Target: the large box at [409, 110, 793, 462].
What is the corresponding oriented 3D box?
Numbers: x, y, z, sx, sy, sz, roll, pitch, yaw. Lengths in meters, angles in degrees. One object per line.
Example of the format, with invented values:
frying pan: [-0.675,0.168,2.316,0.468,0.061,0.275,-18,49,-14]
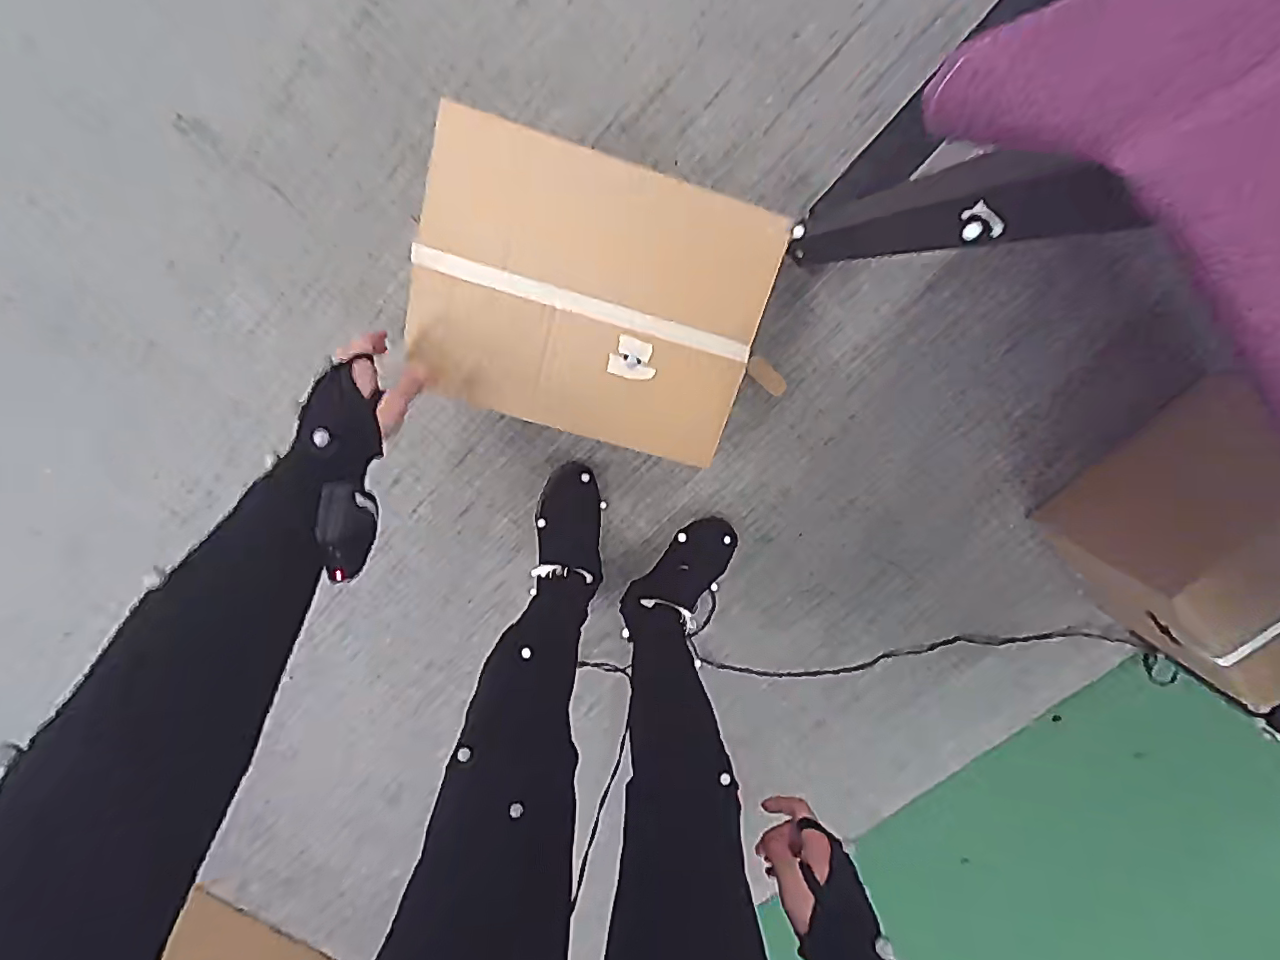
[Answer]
large box: [-0.062,-0.255,0.780,0.408,0.320,0.320,15,108,-8]
